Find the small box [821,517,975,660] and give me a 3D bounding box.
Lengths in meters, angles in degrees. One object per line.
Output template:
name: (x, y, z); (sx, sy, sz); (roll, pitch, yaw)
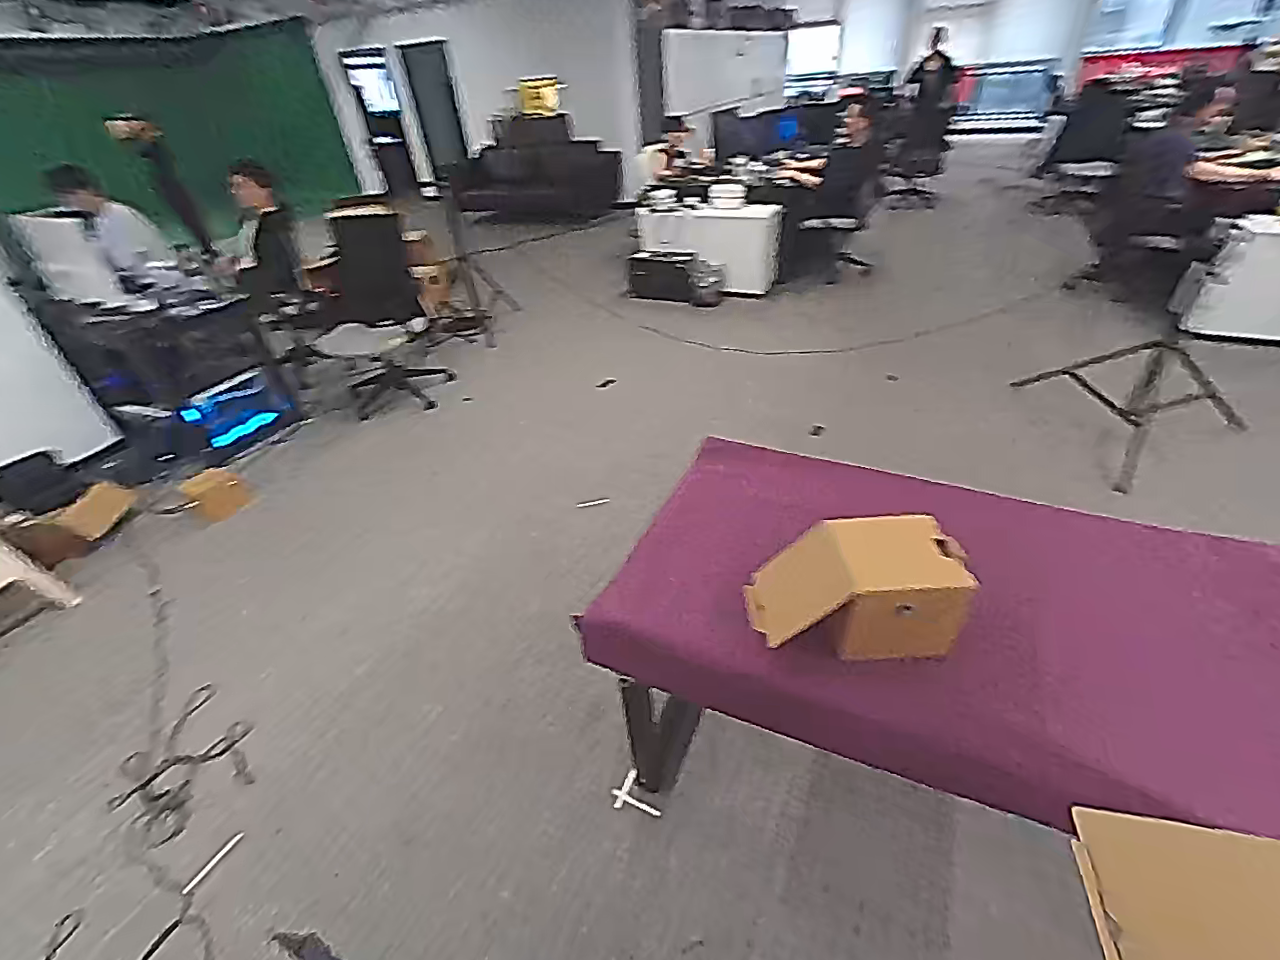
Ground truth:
small box: (0.409, 0.182, 0.897); (0.179, 0.176, 0.168); (-4, 36, 3)
